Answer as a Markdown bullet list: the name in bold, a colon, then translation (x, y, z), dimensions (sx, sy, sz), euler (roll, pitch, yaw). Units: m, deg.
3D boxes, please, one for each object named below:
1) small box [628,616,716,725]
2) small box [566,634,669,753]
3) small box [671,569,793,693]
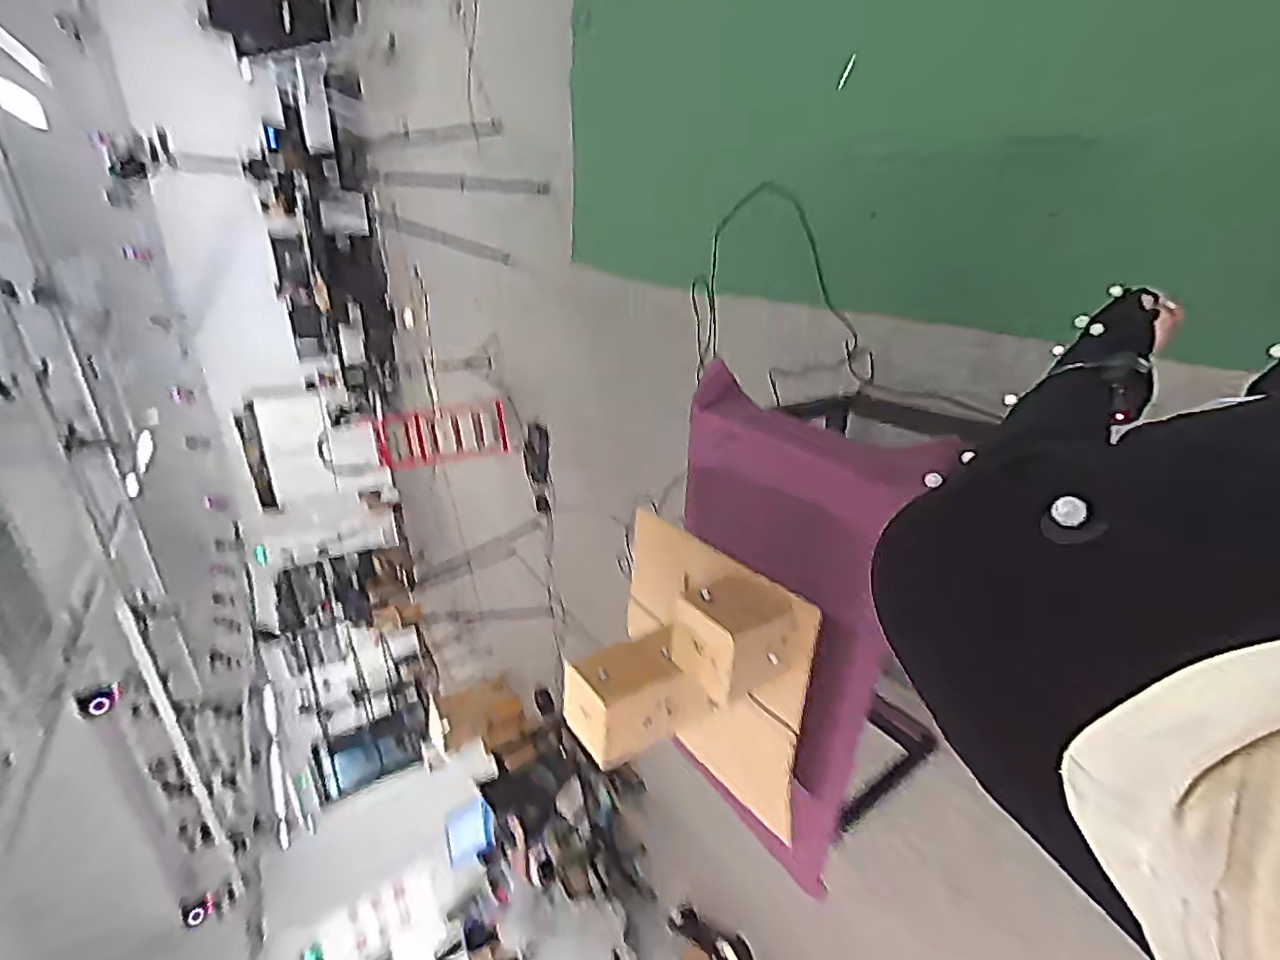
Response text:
- **small box**: translation (0.083, 0.450, 1.320), dimensions (0.179, 0.176, 0.168), euler (28, 121, 50)
- **small box**: translation (-0.054, 0.474, 1.236), dimensions (0.179, 0.176, 0.168), euler (26, 119, 49)
- **small box**: translation (0.188, 0.302, 1.127), dimensions (0.179, 0.176, 0.168), euler (29, 123, 48)
